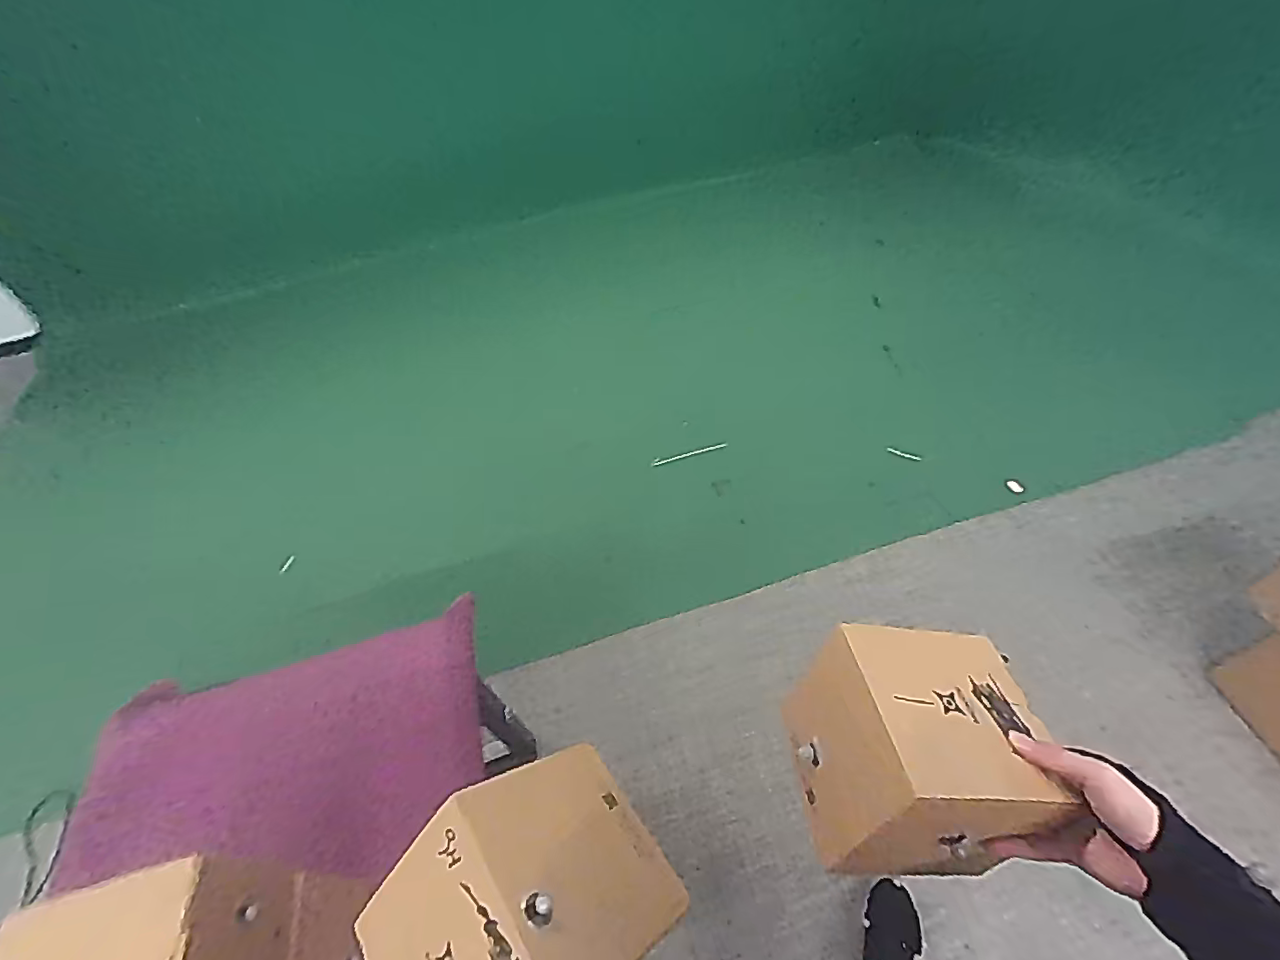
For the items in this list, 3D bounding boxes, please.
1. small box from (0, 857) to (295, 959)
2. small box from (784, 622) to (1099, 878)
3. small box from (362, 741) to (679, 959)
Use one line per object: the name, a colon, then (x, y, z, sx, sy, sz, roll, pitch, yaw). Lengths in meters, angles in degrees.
small box: (-0.473, 0.490, 0.519, 0.179, 0.176, 0.168, -15, 48, -4)
small box: (0.269, 0.266, 0.532, 0.179, 0.176, 0.168, 8, 36, -9)
small box: (-0.098, 0.364, 0.466, 0.168, 0.176, 0.179, 45, 107, 32)
